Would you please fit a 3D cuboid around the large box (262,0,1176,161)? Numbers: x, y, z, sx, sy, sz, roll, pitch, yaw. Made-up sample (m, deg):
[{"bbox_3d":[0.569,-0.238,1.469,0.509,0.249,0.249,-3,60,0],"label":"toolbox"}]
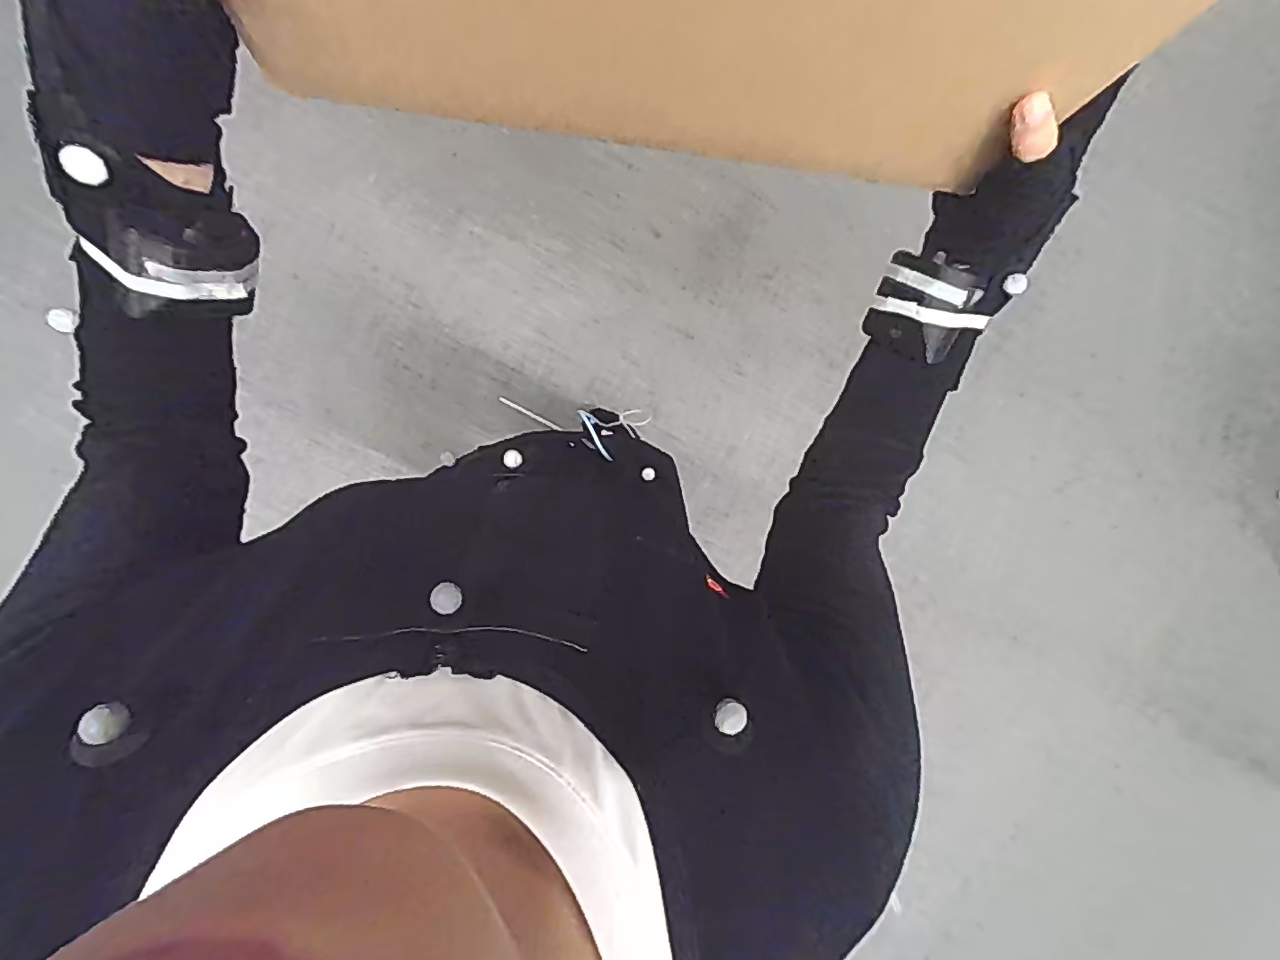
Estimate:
[{"bbox_3d":[0.049,-0.359,0.175,0.408,0.320,0.320,0,87,-12],"label":"large box"}]
